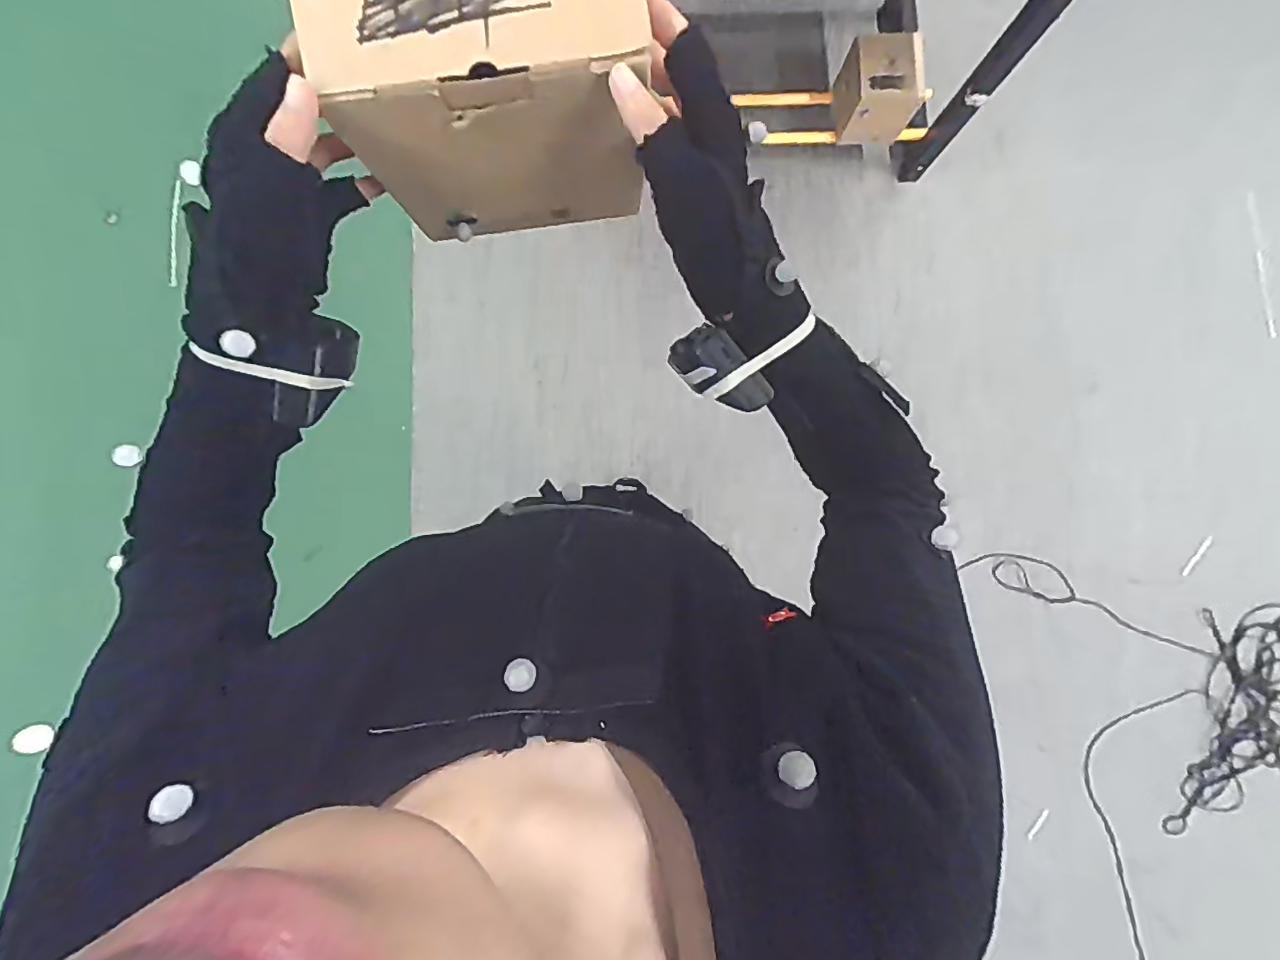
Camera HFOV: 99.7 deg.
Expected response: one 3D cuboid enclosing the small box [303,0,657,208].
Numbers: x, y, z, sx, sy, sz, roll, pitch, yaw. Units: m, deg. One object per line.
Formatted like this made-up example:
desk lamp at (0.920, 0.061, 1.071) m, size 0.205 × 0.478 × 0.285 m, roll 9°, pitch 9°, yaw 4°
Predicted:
small box at (-0.085, -0.289, 0.328) m, size 0.168 × 0.176 × 0.179 m, roll -9°, pitch 92°, yaw -2°
